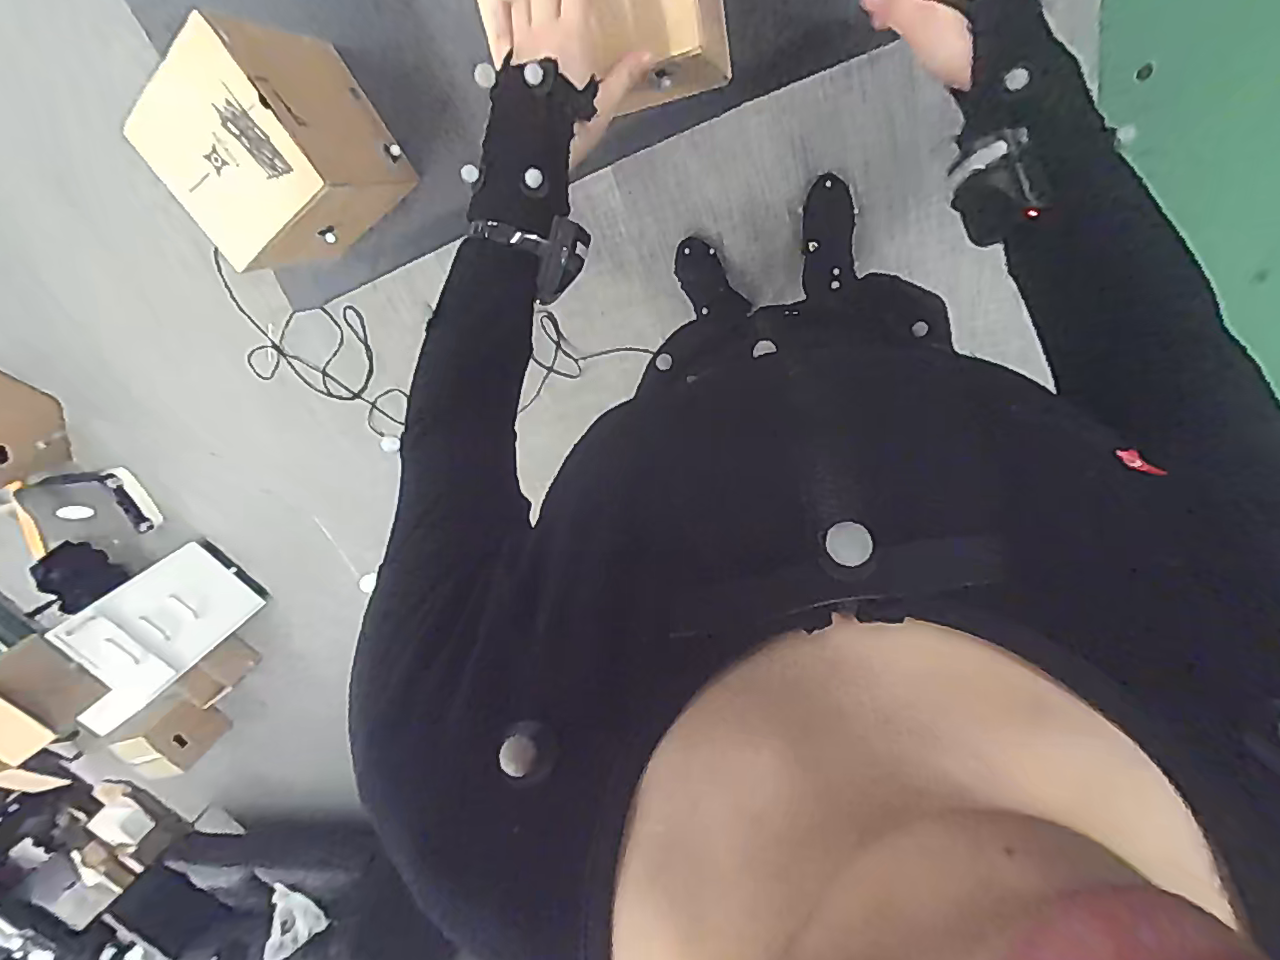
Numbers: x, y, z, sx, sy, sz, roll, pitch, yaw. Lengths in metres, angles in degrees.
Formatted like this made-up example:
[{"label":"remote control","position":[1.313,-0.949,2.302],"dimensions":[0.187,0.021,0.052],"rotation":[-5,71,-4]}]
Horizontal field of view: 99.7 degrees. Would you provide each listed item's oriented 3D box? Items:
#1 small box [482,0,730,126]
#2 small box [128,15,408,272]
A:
[{"label":"small box","position":[-0.026,-0.431,0.475],"dimensions":[0.179,0.176,0.168],"rotation":[-4,117,19]},{"label":"small box","position":[-0.399,-0.368,0.615],"dimensions":[0.179,0.176,0.168],"rotation":[-22,112,26]}]
